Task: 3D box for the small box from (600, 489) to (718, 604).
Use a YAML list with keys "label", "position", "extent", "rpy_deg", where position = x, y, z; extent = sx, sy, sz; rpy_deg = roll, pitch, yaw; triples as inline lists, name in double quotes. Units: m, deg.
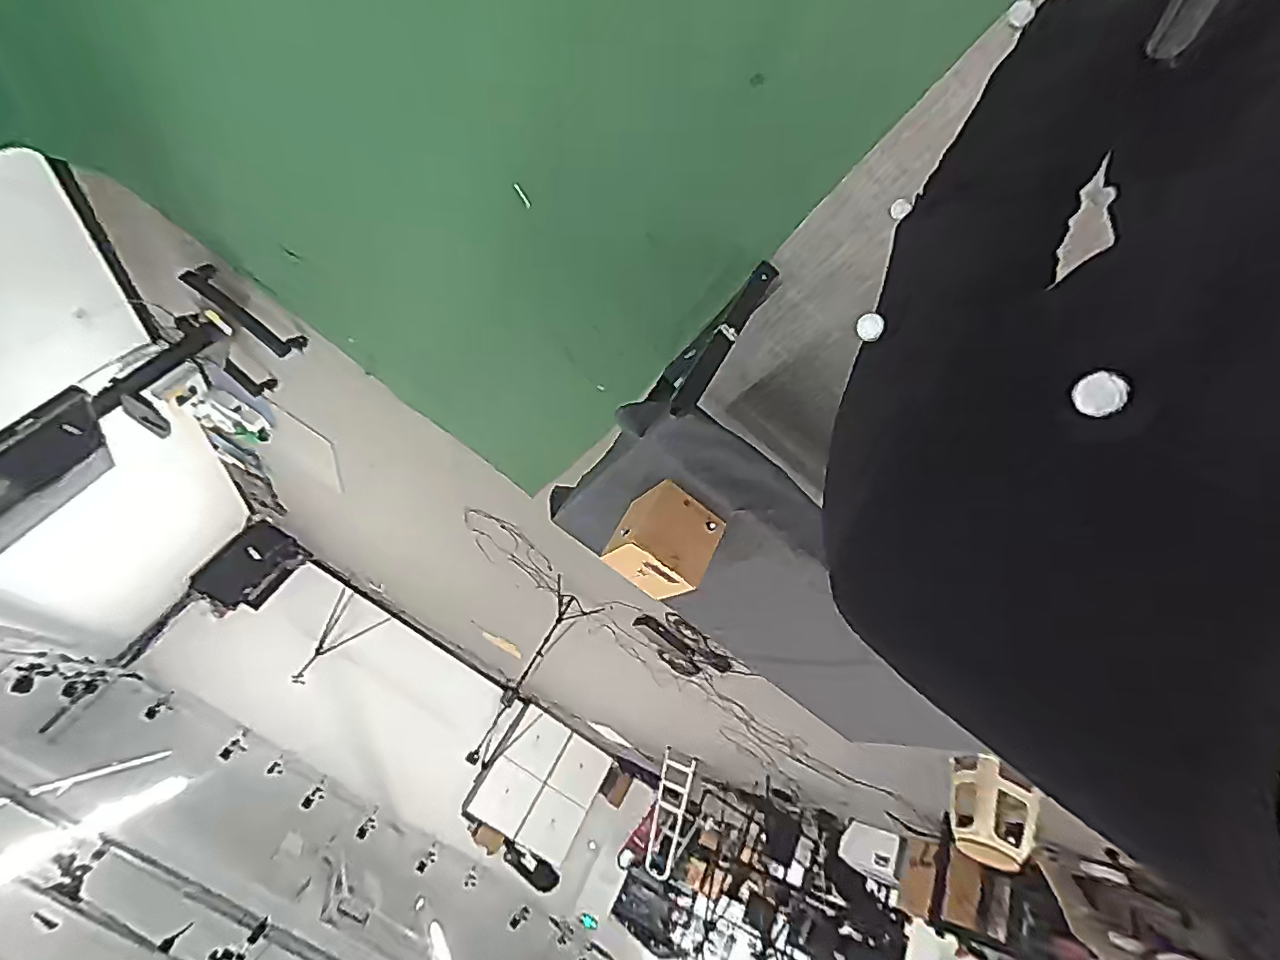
- label: "small box"
  position: [0.047, 0.143, 1.164]
  extent: [0.168, 0.176, 0.179]
  rpy_deg: [38, 149, -10]
